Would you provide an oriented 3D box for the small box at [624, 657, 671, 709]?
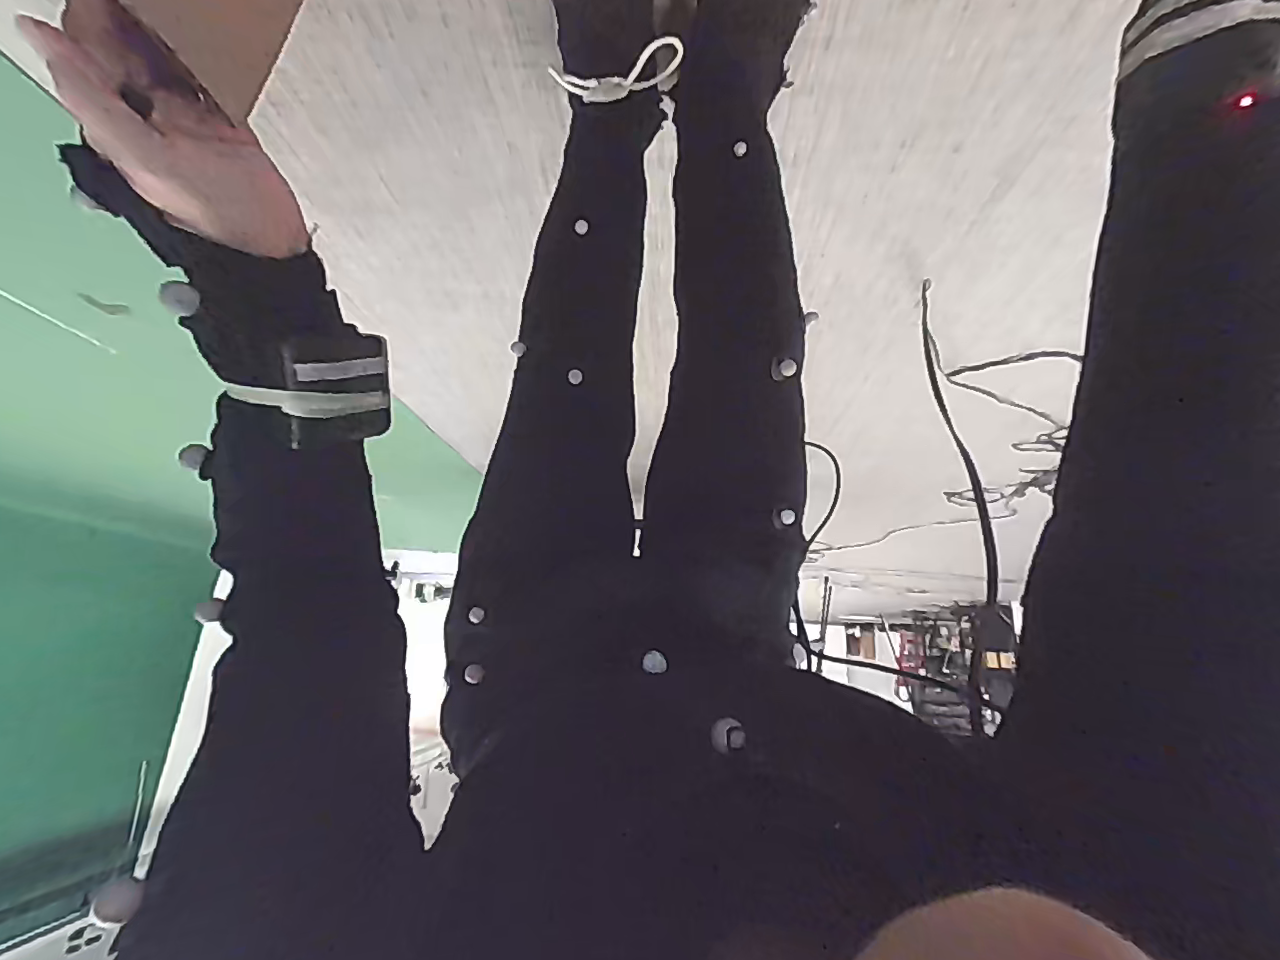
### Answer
[{"bbox_3d":[0.033,0.783,2.095,0.168,0.176,0.179,1,162,5],"label":"small box"}]
